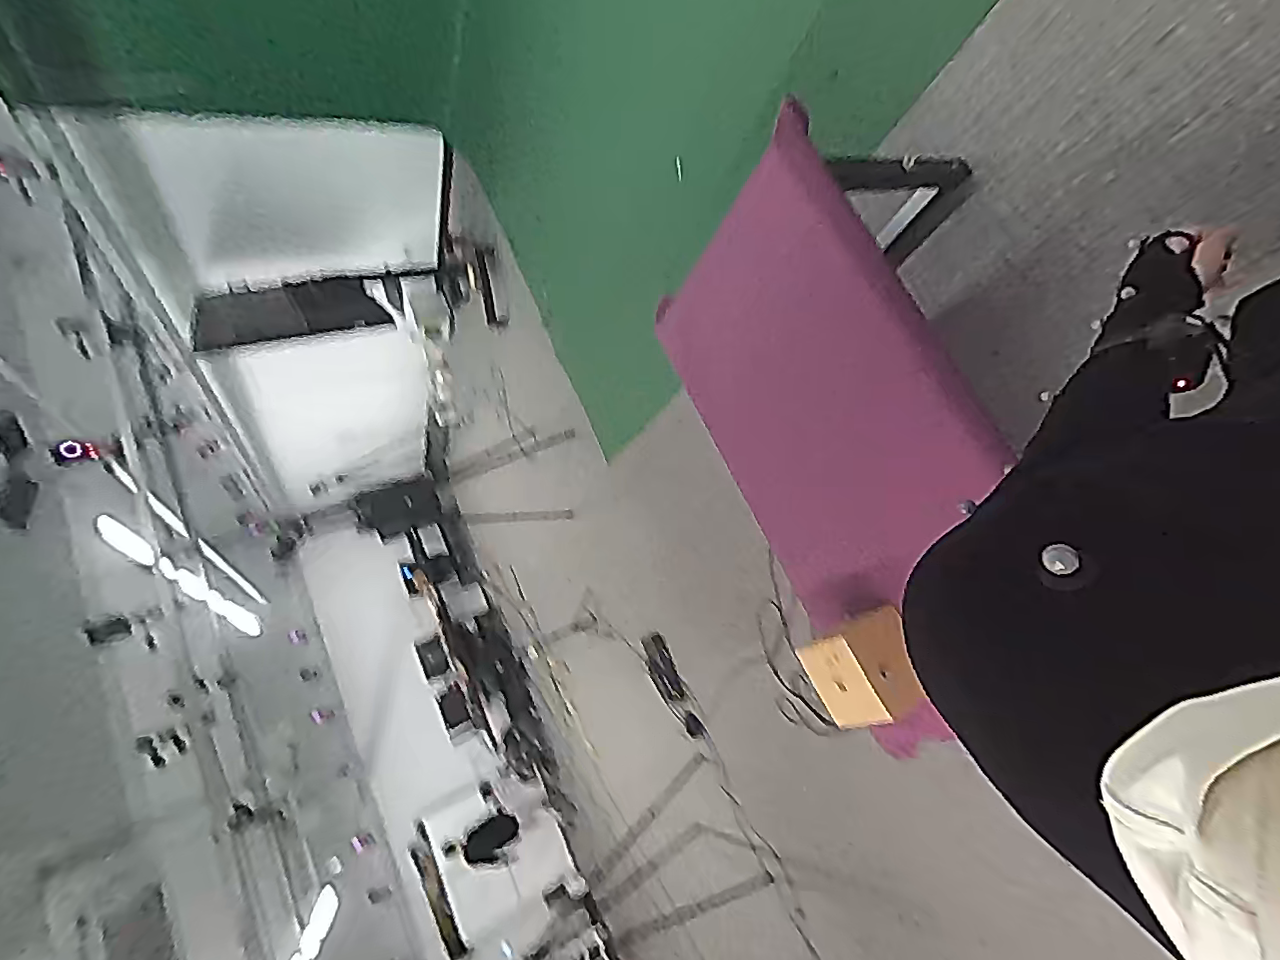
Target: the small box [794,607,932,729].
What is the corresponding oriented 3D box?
[{"bbox_3d":[0.471,0.397,1.142,0.179,0.176,0.168,61,148,16],"label":"small box"}]
